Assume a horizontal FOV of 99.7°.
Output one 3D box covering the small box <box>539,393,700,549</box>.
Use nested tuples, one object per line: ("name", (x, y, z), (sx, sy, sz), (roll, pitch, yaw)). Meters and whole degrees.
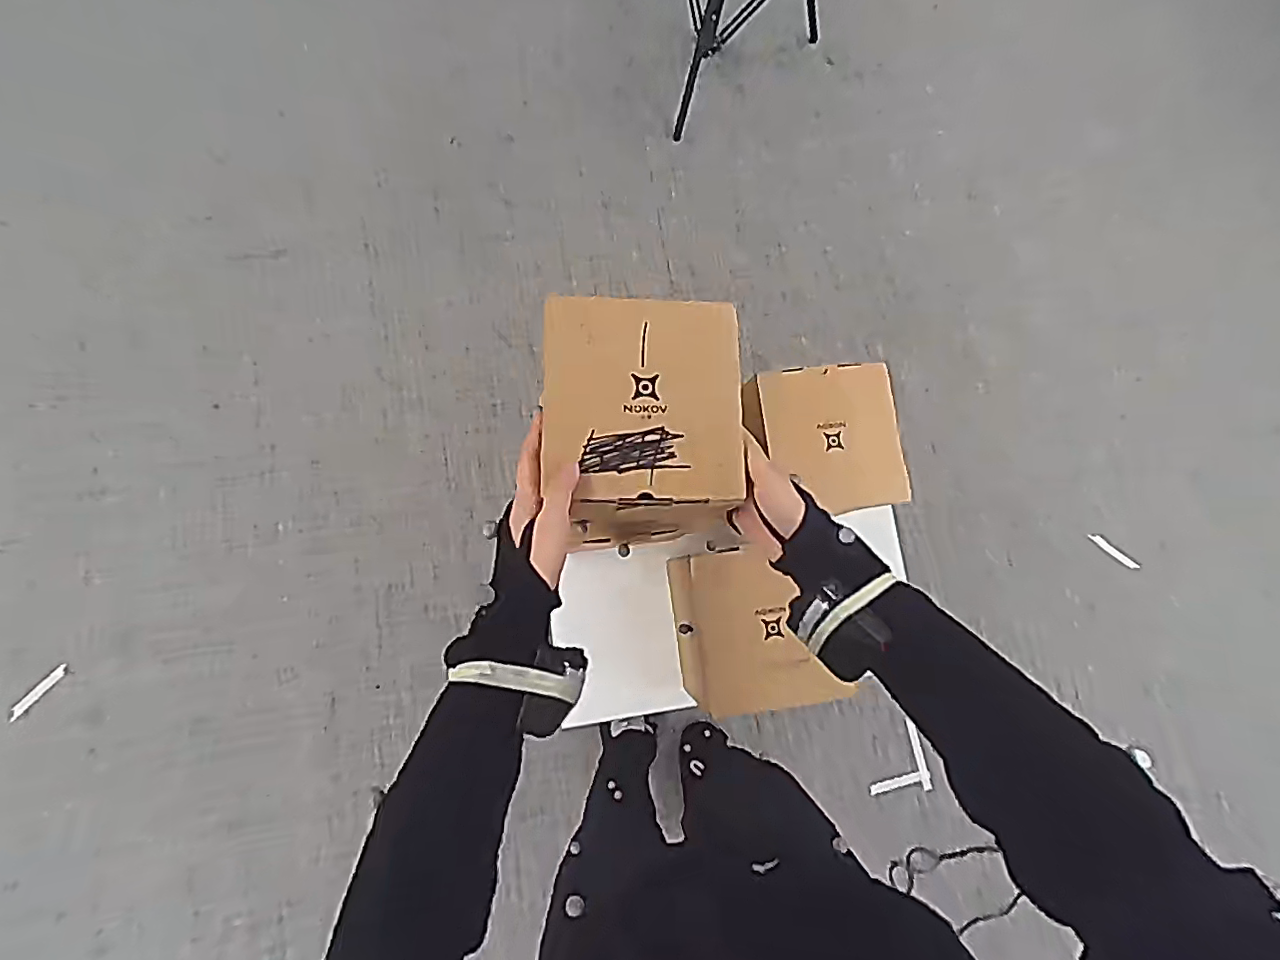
("small box", (-0.031, -0.009, 0.681), (0.168, 0.176, 0.179), (-7, 82, -8))

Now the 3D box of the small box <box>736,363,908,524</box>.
("small box", (0.217, -0.038, 0.715), (0.168, 0.176, 0.179), (-7, 81, -7))

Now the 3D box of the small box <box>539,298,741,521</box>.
("small box", (-0.006, -0.053, 0.524), (0.168, 0.176, 0.179), (0, 80, -6))
